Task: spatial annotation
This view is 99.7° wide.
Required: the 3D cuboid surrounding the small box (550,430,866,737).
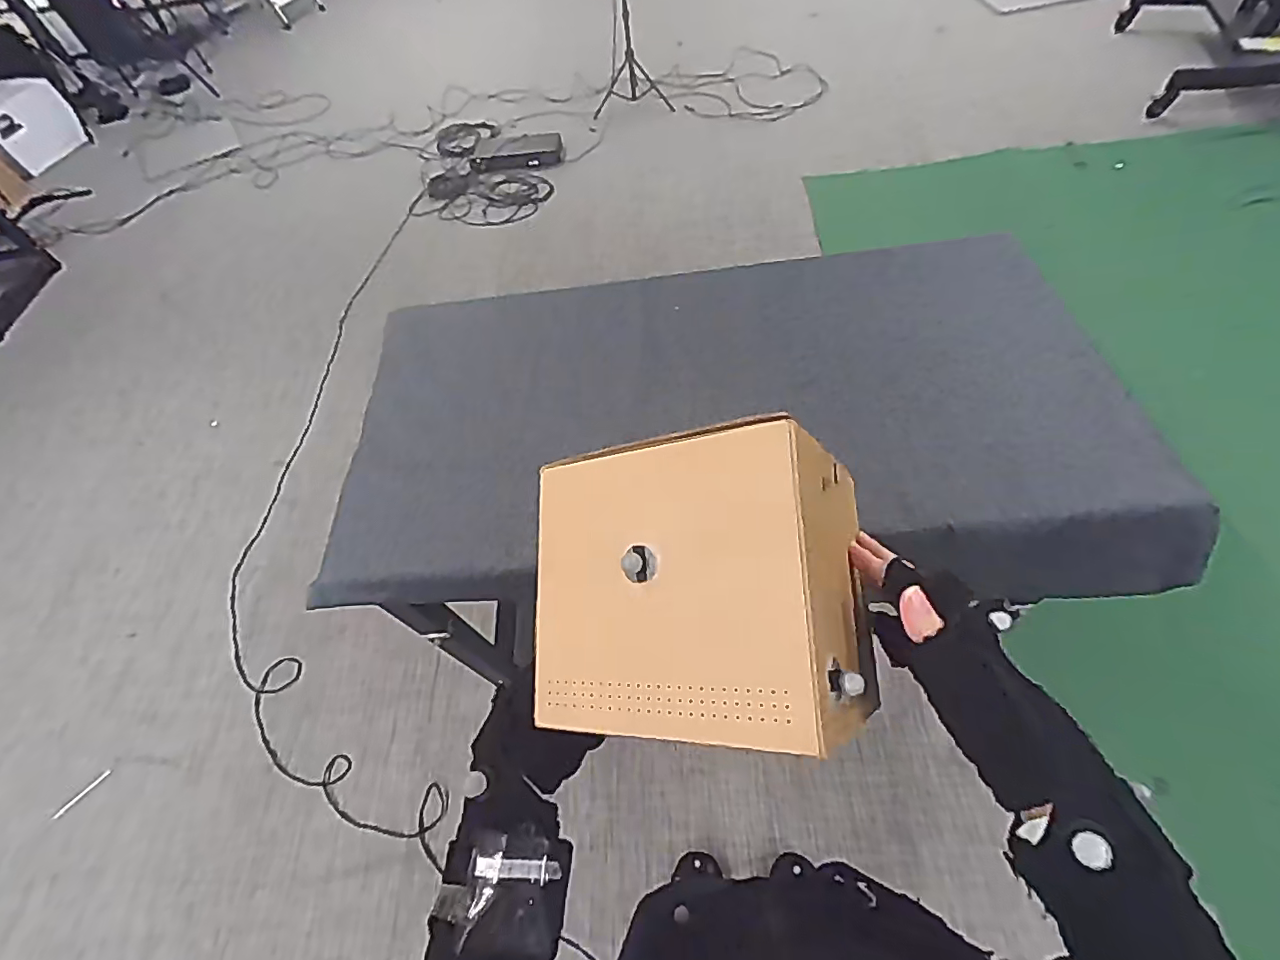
[{"bbox_3d":[0.053,0.080,0.390,0.179,0.168,0.176,-10,72,30],"label":"small box"}]
